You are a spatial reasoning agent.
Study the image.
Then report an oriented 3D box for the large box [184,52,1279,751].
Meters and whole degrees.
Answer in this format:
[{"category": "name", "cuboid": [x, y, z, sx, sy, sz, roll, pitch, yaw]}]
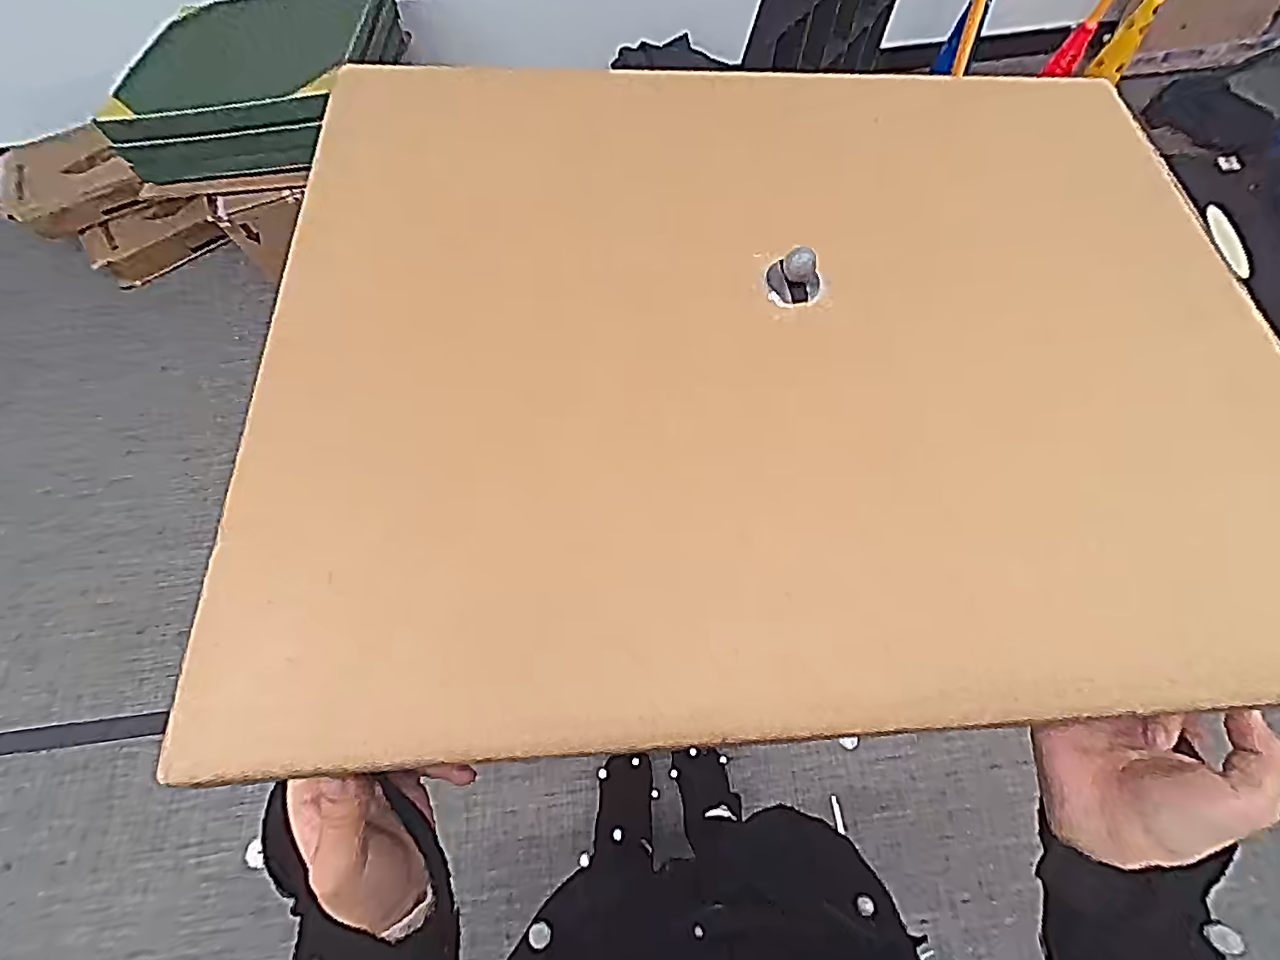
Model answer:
[{"category": "large box", "cuboid": [0.051, -0.018, 0.353, 0.408, 0.320, 0.320, -3, 68, -3]}]
